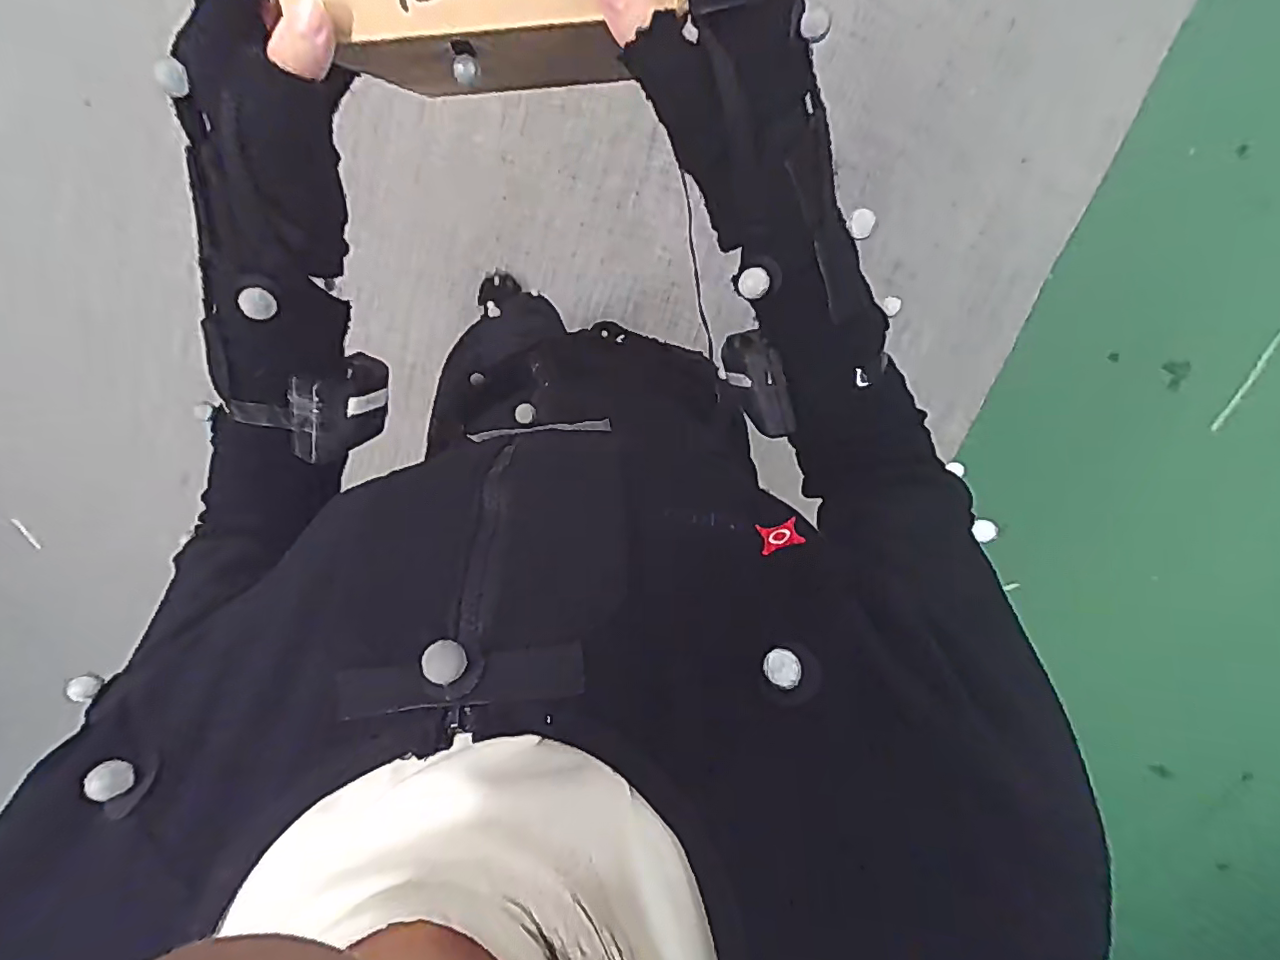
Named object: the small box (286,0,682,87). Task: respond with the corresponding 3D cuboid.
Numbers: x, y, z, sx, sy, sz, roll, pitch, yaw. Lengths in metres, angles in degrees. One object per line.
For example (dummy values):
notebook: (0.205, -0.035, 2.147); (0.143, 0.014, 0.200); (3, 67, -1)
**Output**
small box: (-0.070, -0.307, 0.254); (0.168, 0.176, 0.179); (-4, 120, 0)
